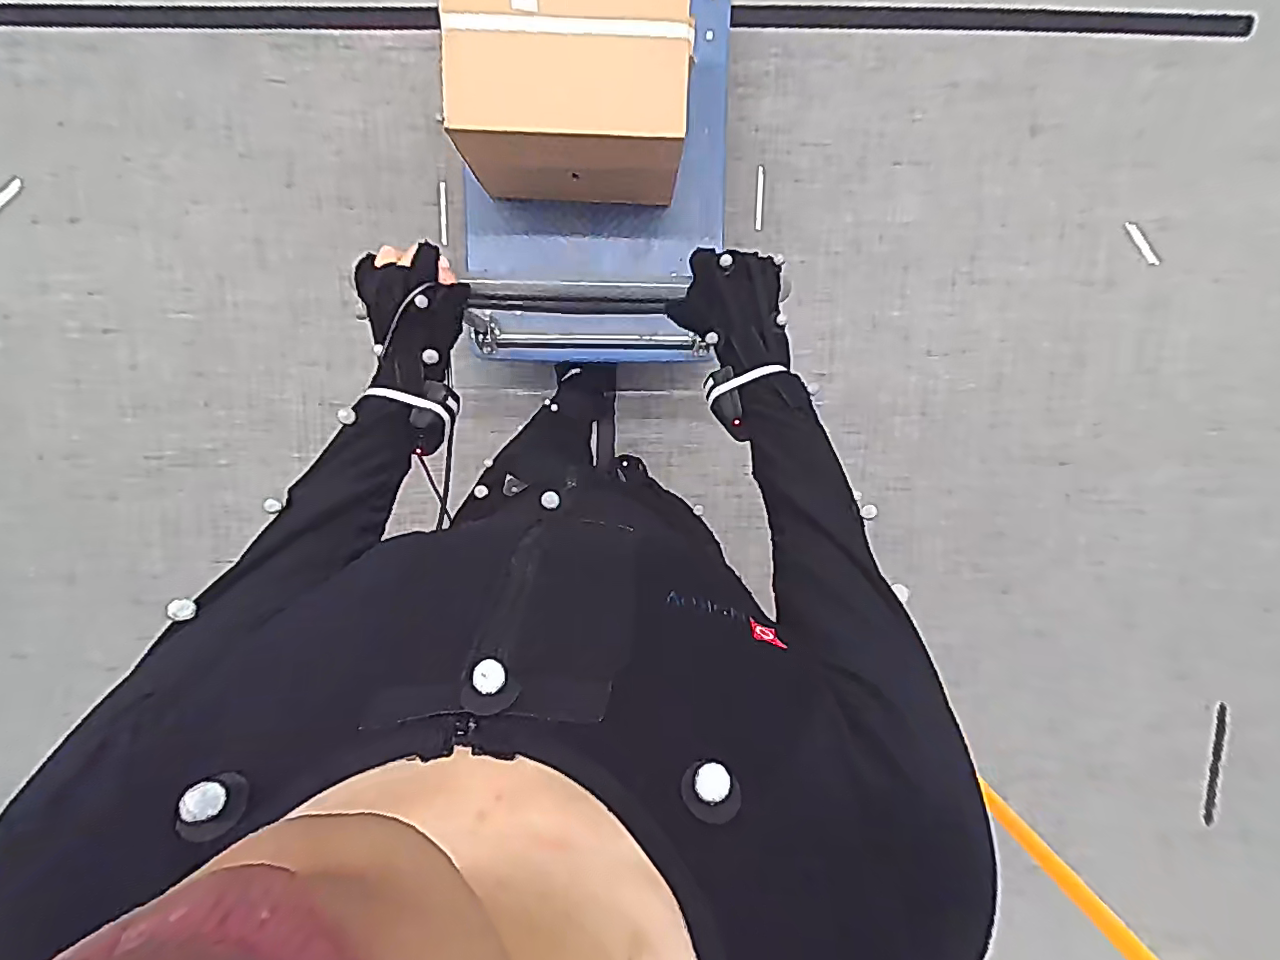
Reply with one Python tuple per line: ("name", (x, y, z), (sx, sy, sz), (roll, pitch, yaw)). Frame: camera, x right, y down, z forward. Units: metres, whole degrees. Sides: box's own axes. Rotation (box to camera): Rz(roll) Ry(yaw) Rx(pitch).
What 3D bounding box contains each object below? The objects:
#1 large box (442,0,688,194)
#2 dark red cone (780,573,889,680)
("large box", (-0.122, -0.759, 1.025), (0.408, 0.320, 0.320), (1, 98, -1))
("dark red cone", (0.496, 0.379, 1.330), (0.201, 0.394, 0.202), (0, 98, -3))
